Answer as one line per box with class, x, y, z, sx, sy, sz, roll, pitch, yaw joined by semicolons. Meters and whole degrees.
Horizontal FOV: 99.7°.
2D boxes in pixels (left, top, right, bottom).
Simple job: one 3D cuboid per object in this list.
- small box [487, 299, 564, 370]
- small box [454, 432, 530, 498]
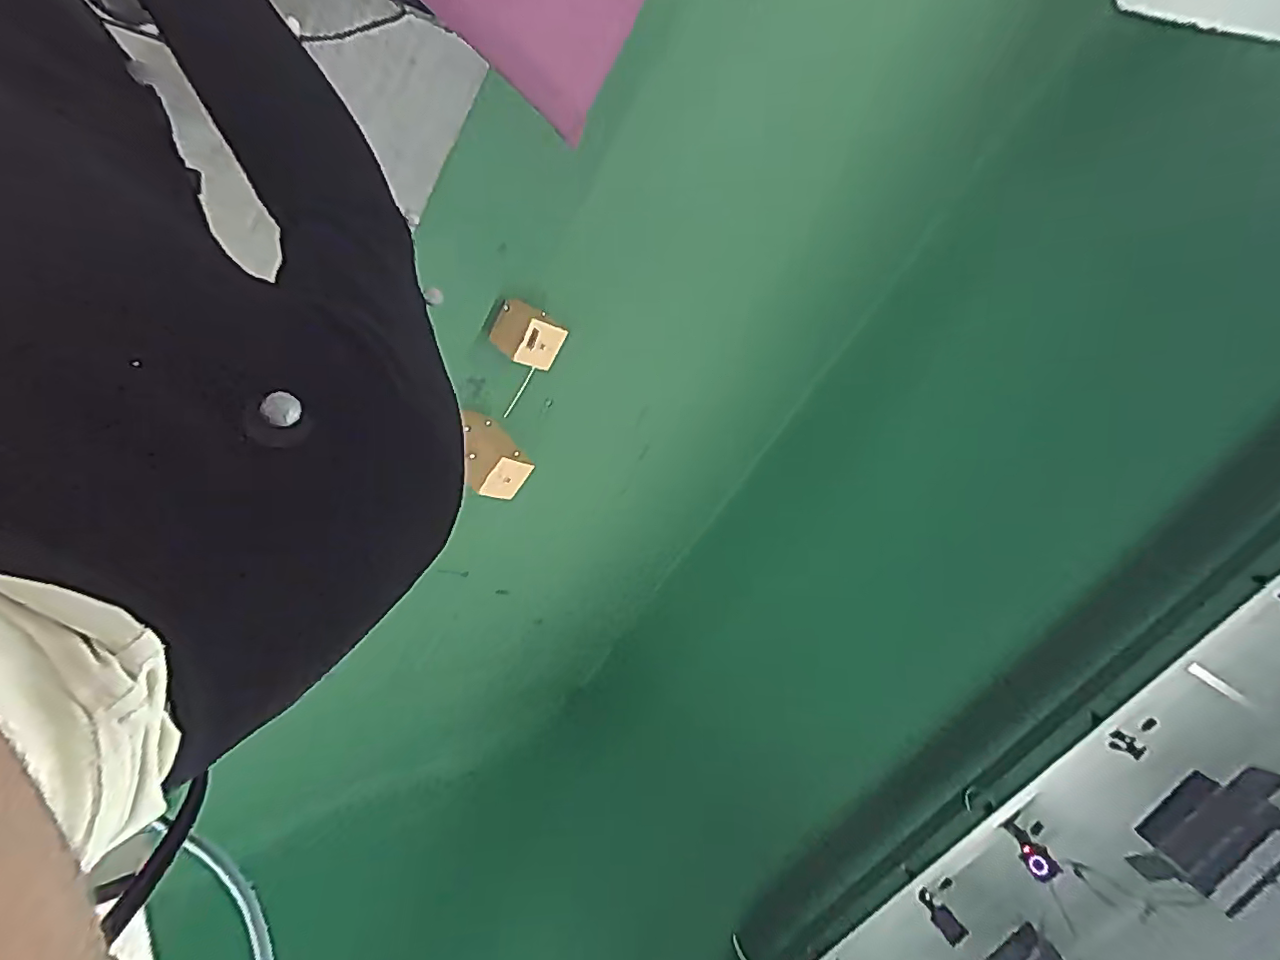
small box;-0.415;-0.523;1.936;0.179;0.176;0.168;4;124;-55
small box;-0.550;-0.055;2.005;0.168;0.176;0.179;-52;151;11
